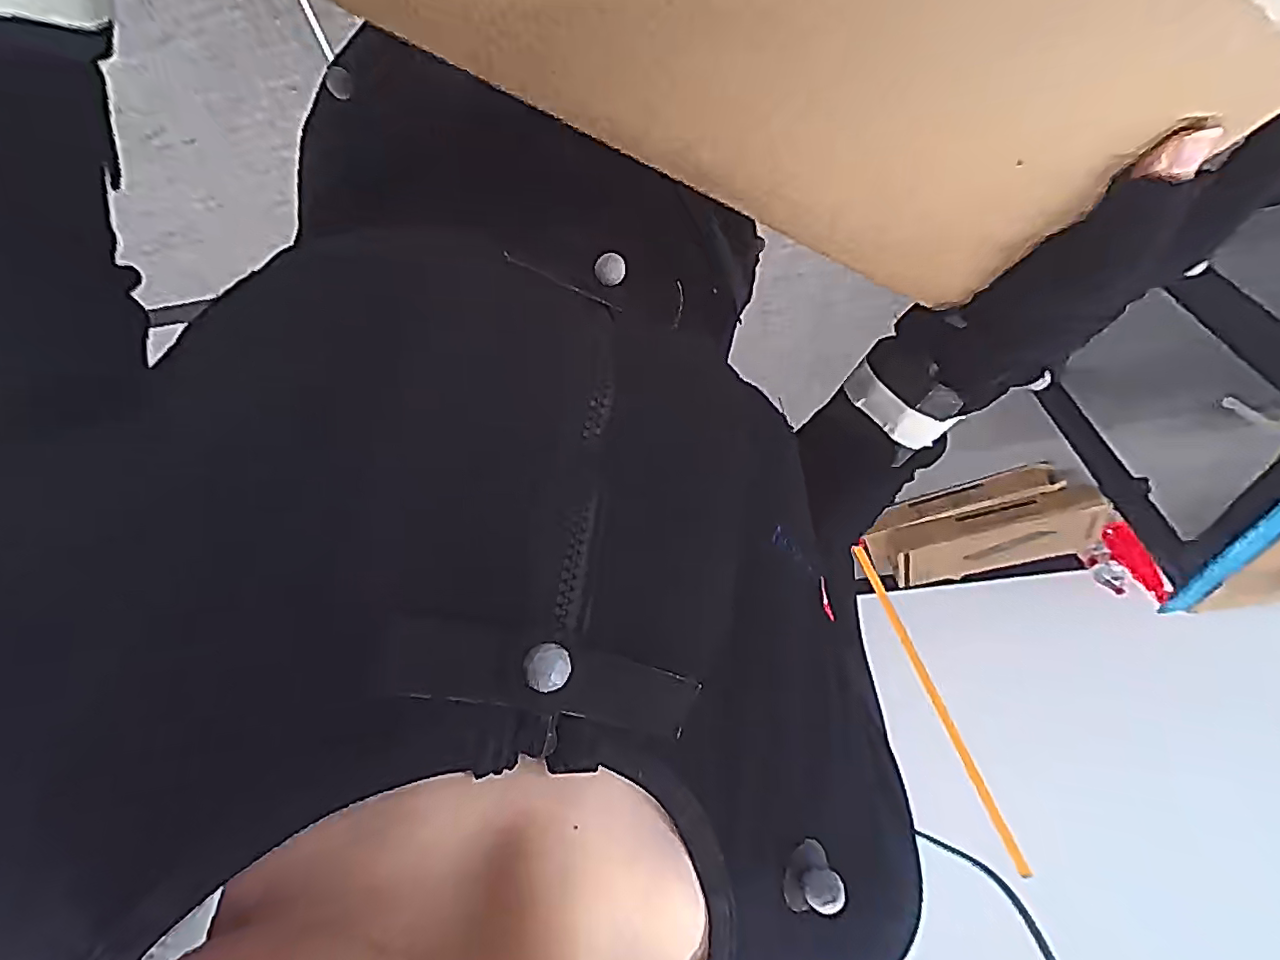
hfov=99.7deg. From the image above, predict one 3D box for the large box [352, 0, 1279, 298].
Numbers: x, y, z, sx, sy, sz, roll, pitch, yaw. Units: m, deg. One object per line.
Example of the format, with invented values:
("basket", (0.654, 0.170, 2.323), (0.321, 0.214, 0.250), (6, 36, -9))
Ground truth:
("large box", (0.077, -0.337, 0.172), (0.408, 0.320, 0.320), (16, 158, -20))
